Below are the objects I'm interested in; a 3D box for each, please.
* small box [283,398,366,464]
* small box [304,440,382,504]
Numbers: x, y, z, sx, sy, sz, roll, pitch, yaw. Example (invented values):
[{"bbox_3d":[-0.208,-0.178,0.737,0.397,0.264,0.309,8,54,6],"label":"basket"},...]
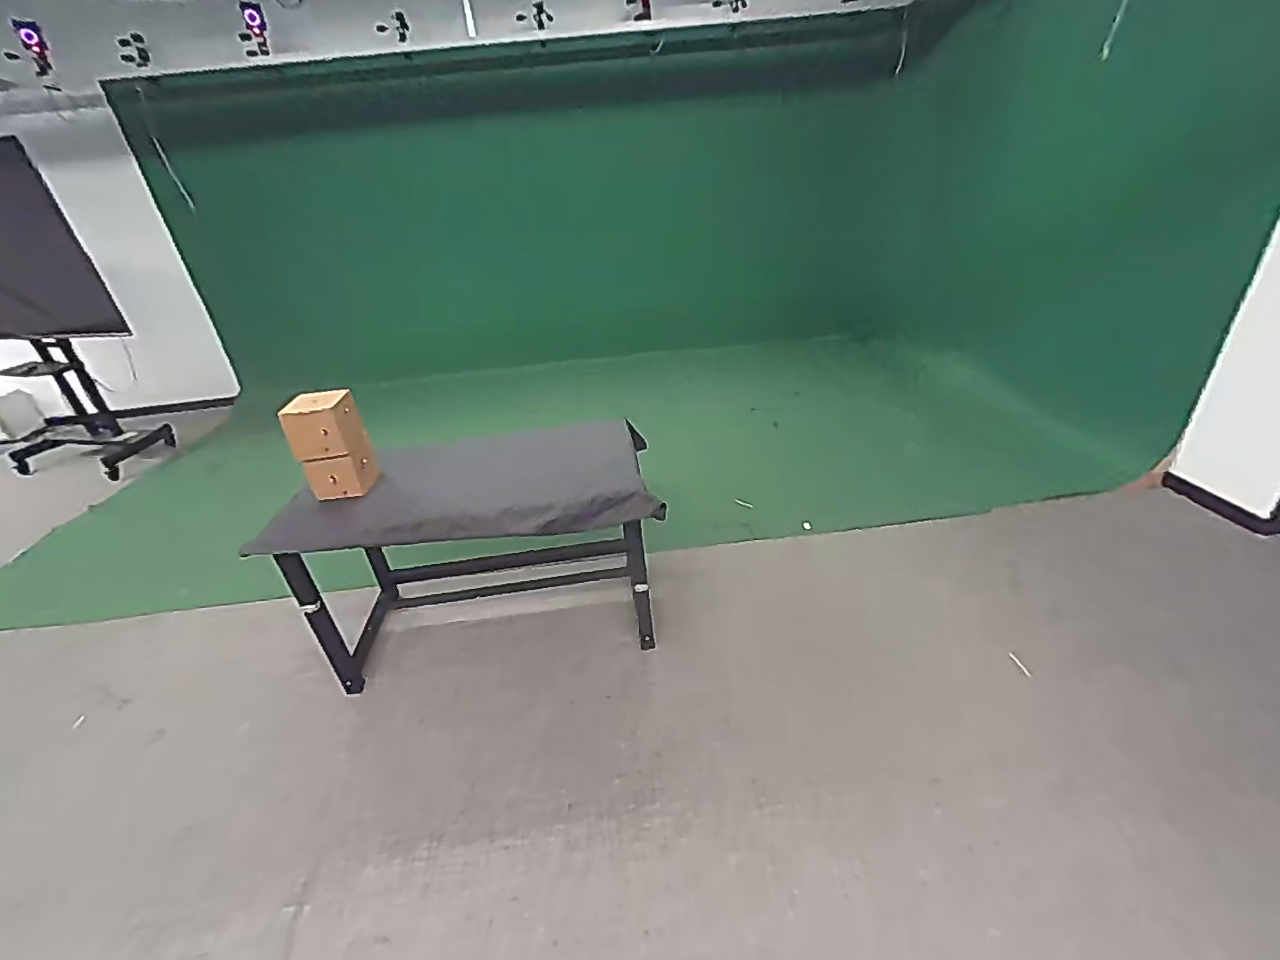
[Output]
[{"bbox_3d":[-1.046,-0.160,1.813,0.168,0.176,0.179,-7,28,-4],"label":"small box"},{"bbox_3d":[-1.034,-0.024,1.904,0.168,0.176,0.179,-6,29,-2],"label":"small box"}]
